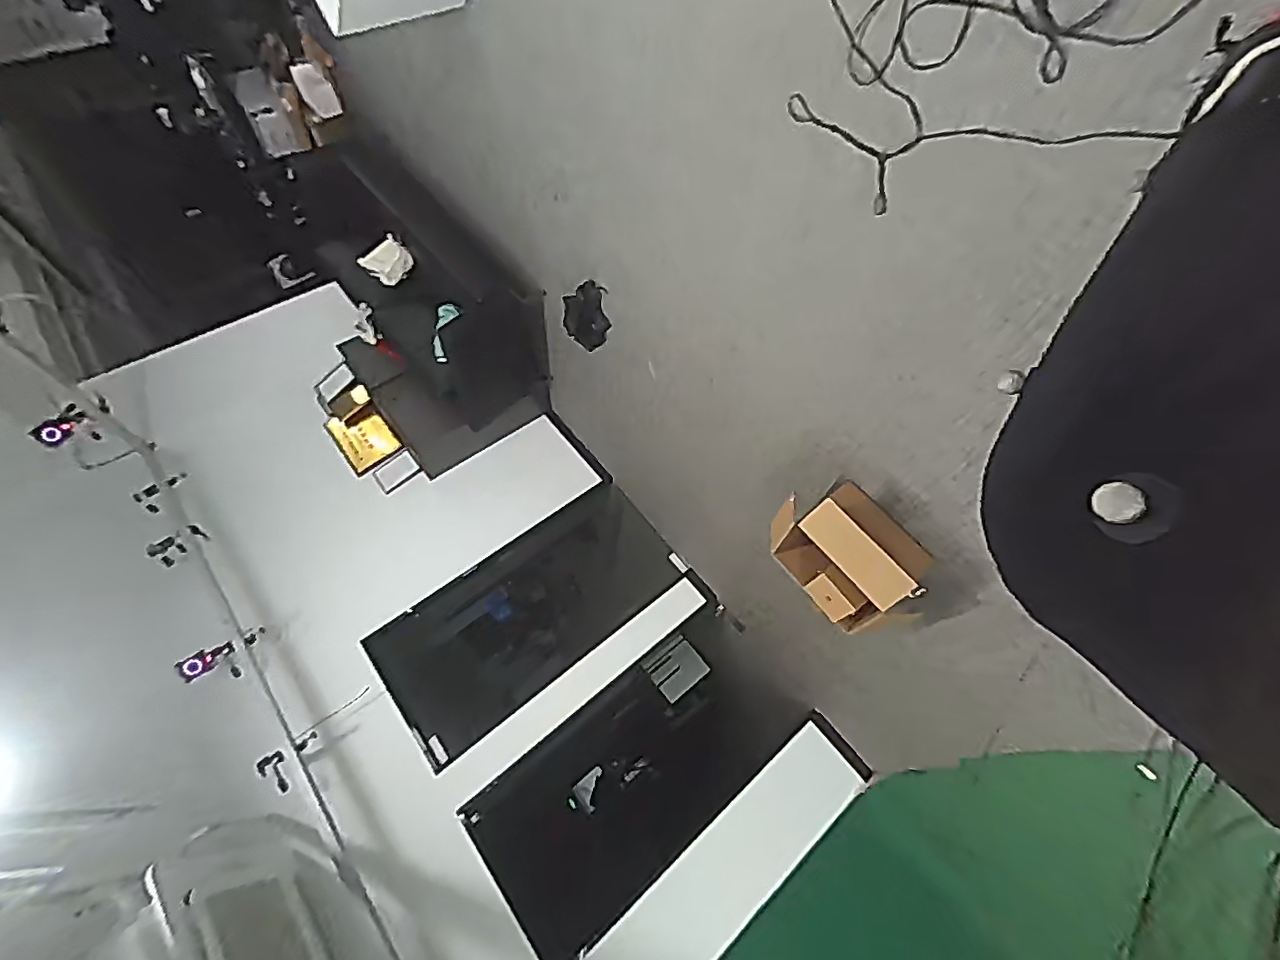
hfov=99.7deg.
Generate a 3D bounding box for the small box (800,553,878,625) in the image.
[{"bbox_3d":[0.726,0.397,1.970,0.168,0.176,0.179,51,155,17],"label":"small box"}]
